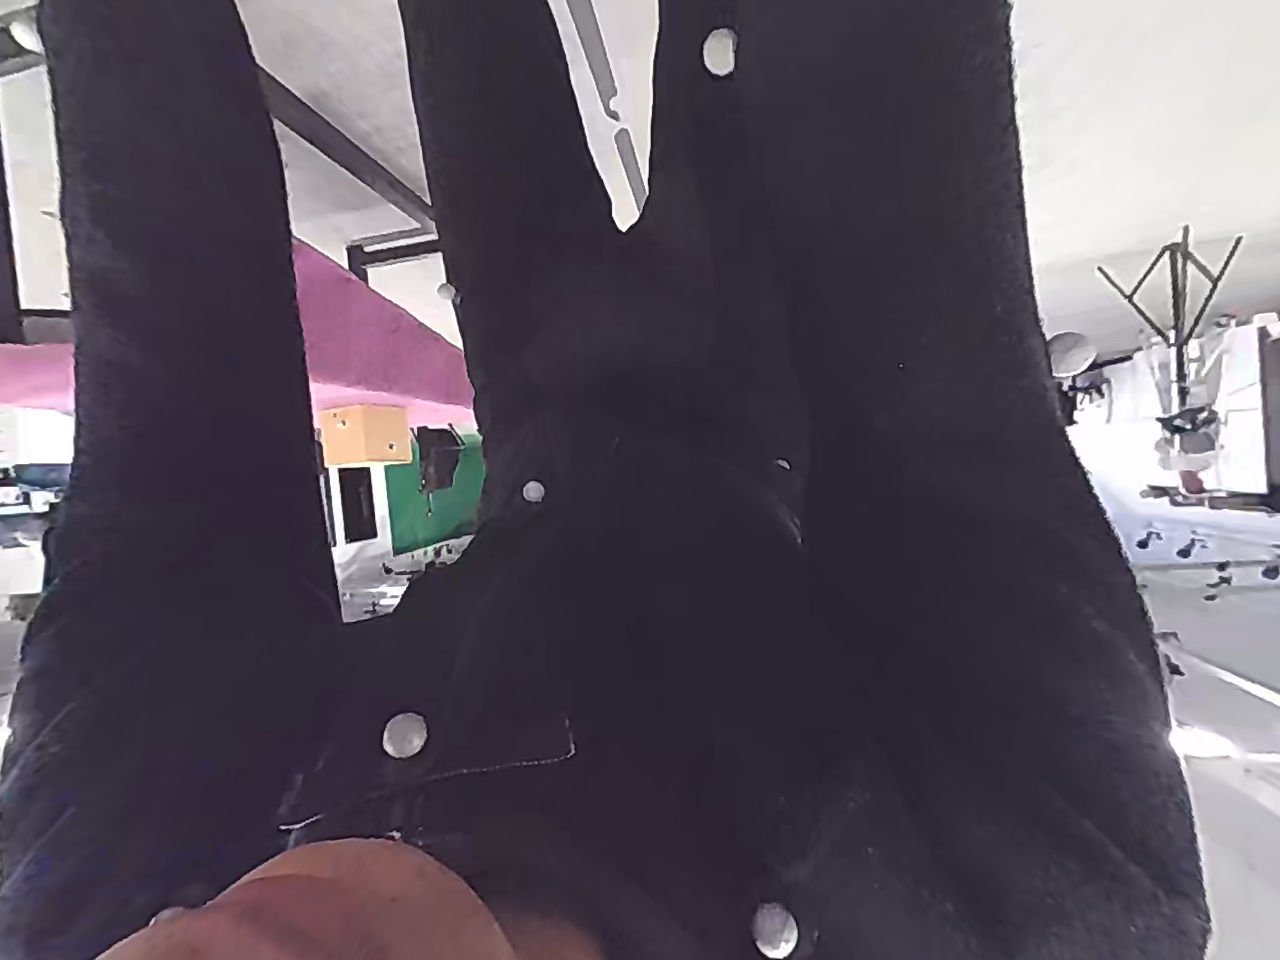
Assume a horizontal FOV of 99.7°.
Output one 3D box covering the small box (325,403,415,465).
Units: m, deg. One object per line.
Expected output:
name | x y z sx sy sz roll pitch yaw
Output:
small box | -0.807 -0.137 1.621 0.168 0.176 0.179 -5 -179 21
